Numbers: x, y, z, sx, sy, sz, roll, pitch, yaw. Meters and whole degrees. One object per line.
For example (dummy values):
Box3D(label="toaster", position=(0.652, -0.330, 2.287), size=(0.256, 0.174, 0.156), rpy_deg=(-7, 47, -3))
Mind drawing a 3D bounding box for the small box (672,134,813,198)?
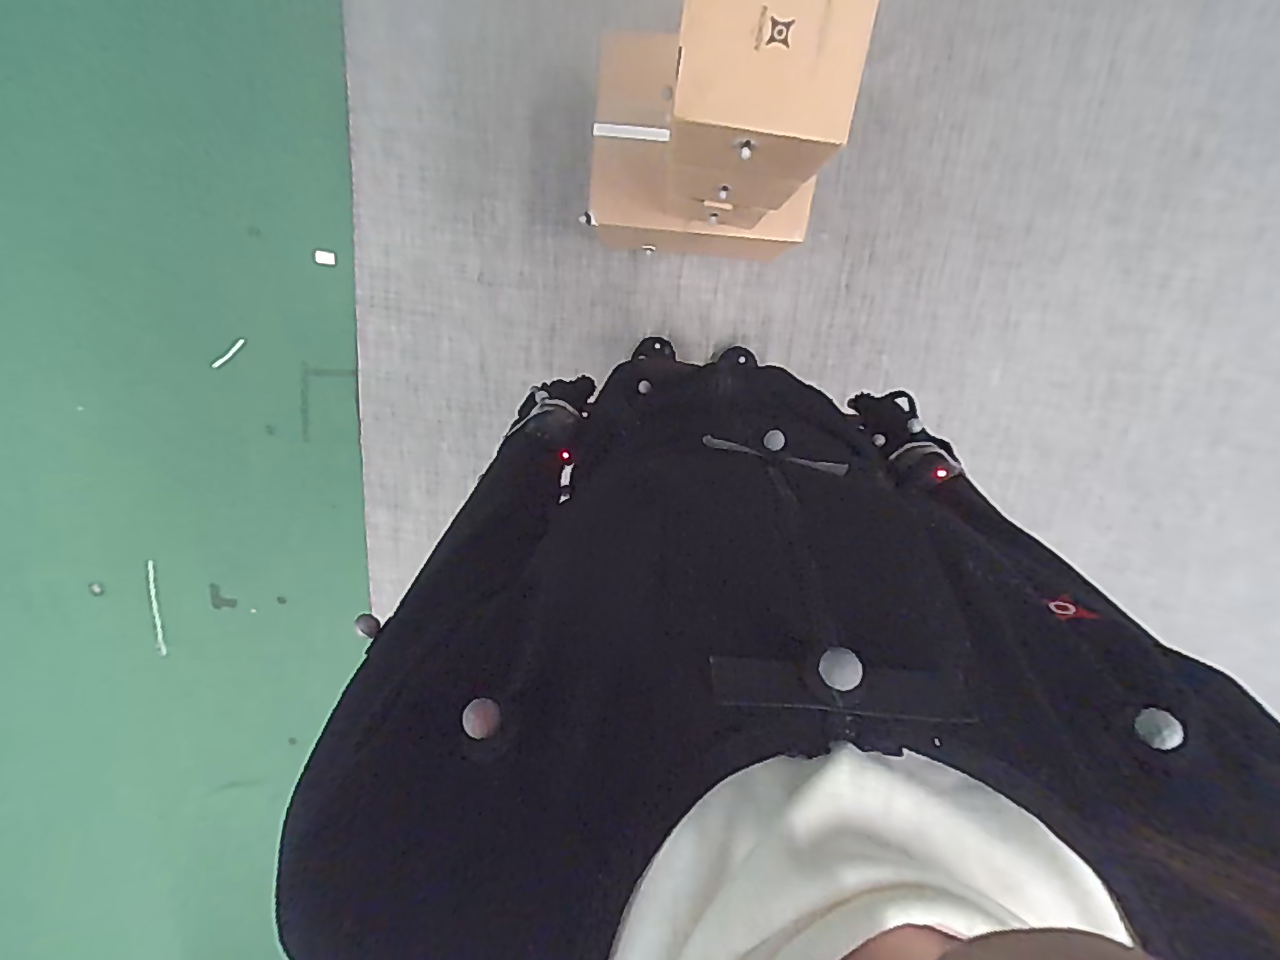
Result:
Box3D(label="small box", position=(0.143, -0.492, 0.728), size=(0.179, 0.176, 0.168), rpy_deg=(9, 107, 2))

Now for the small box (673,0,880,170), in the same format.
Box3D(label="small box", position=(0.133, -0.446, 0.573), size=(0.179, 0.176, 0.168), rpy_deg=(8, 108, 1))

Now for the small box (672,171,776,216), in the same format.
Box3D(label="small box", position=(0.148, -0.544, 0.884), size=(0.168, 0.176, 0.179), rpy_deg=(9, 108, 1))
